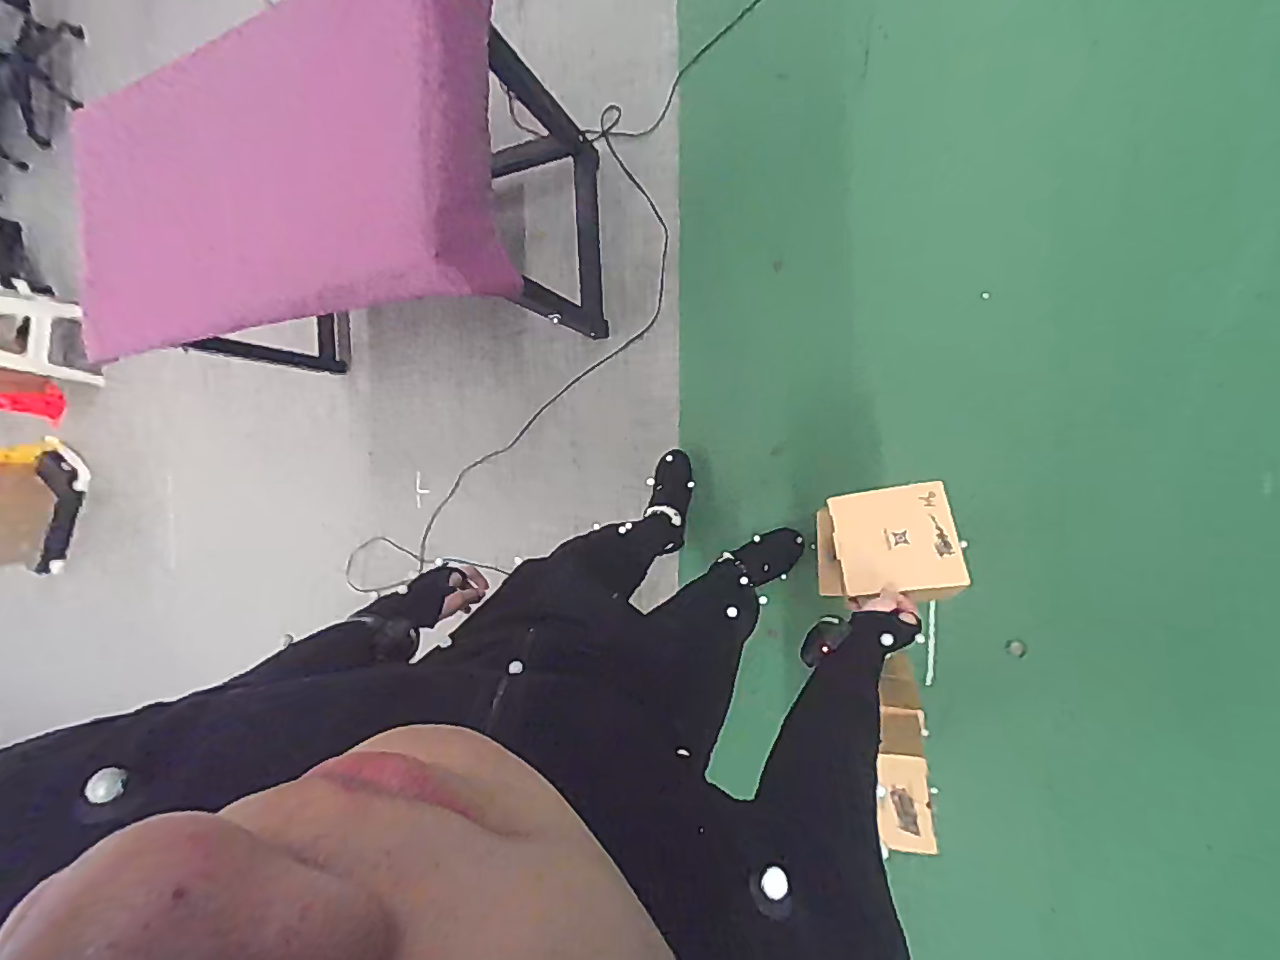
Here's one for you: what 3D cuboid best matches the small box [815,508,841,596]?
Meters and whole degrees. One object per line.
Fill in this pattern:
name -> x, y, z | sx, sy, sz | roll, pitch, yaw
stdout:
small box -> 0.465, 0.148, 1.156 | 0.168, 0.176, 0.179 | -1, 91, 22

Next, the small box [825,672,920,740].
small box -> 0.495, 0.525, 1.153 | 0.179, 0.176, 0.168 | -1, 92, 23

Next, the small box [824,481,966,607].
small box -> 0.416, 0.116, 0.905 | 0.179, 0.176, 0.168 | -11, 68, 18

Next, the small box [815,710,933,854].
small box -> 0.431, 0.545, 1.003 | 0.179, 0.176, 0.168 | -7, 89, 25
